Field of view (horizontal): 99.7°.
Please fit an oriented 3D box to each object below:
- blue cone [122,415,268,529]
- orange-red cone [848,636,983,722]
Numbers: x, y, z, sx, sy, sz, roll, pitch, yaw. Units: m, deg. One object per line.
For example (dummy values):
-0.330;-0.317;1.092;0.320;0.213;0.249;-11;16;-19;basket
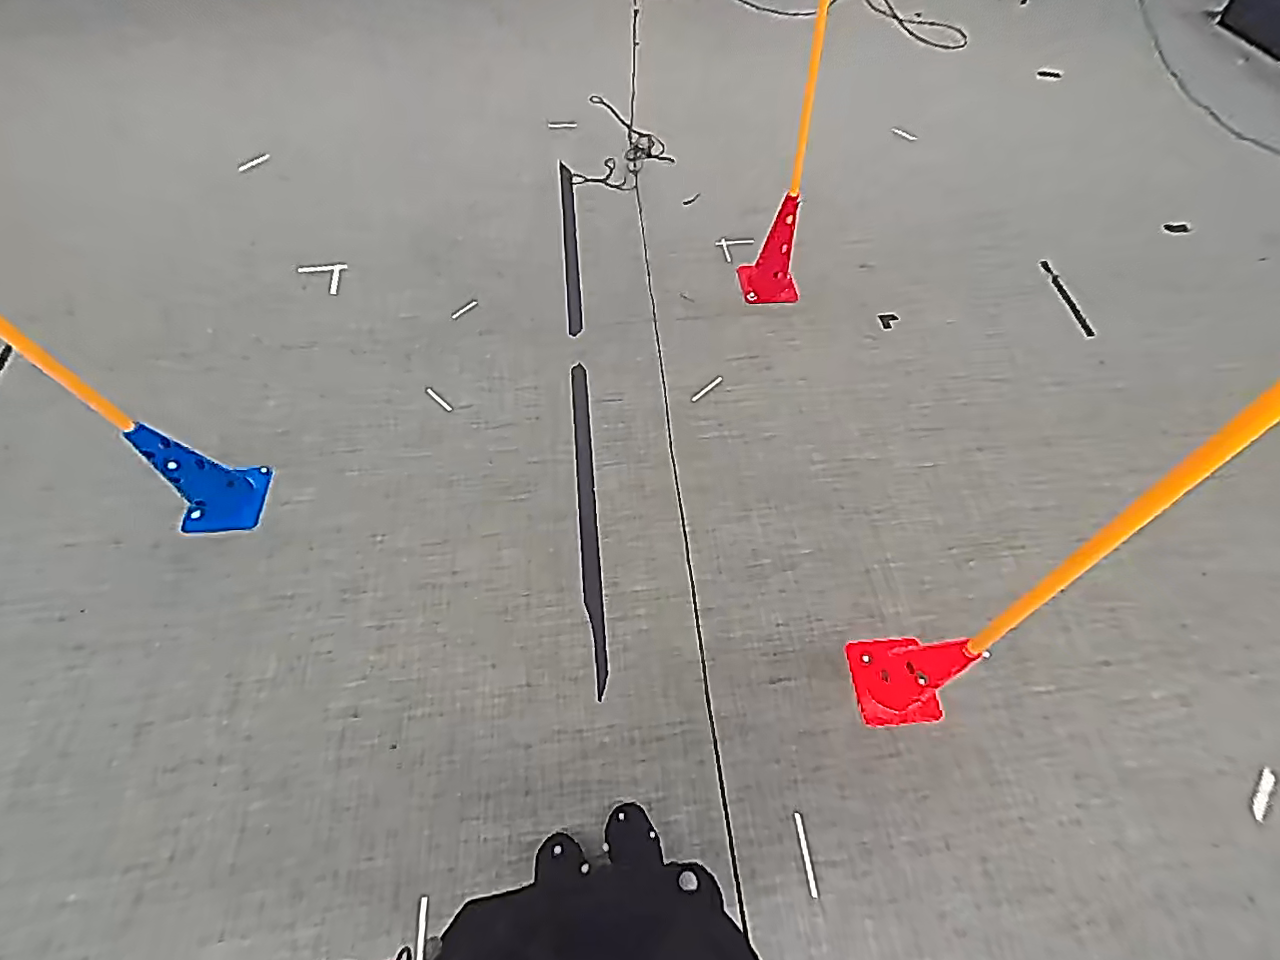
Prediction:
-1.158;-0.031;1.379;0.193;0.380;0.192;-2;60;-3;blue cone
0.626;0.399;1.171;0.198;0.360;0.199;-2;61;-3;orange-red cone
